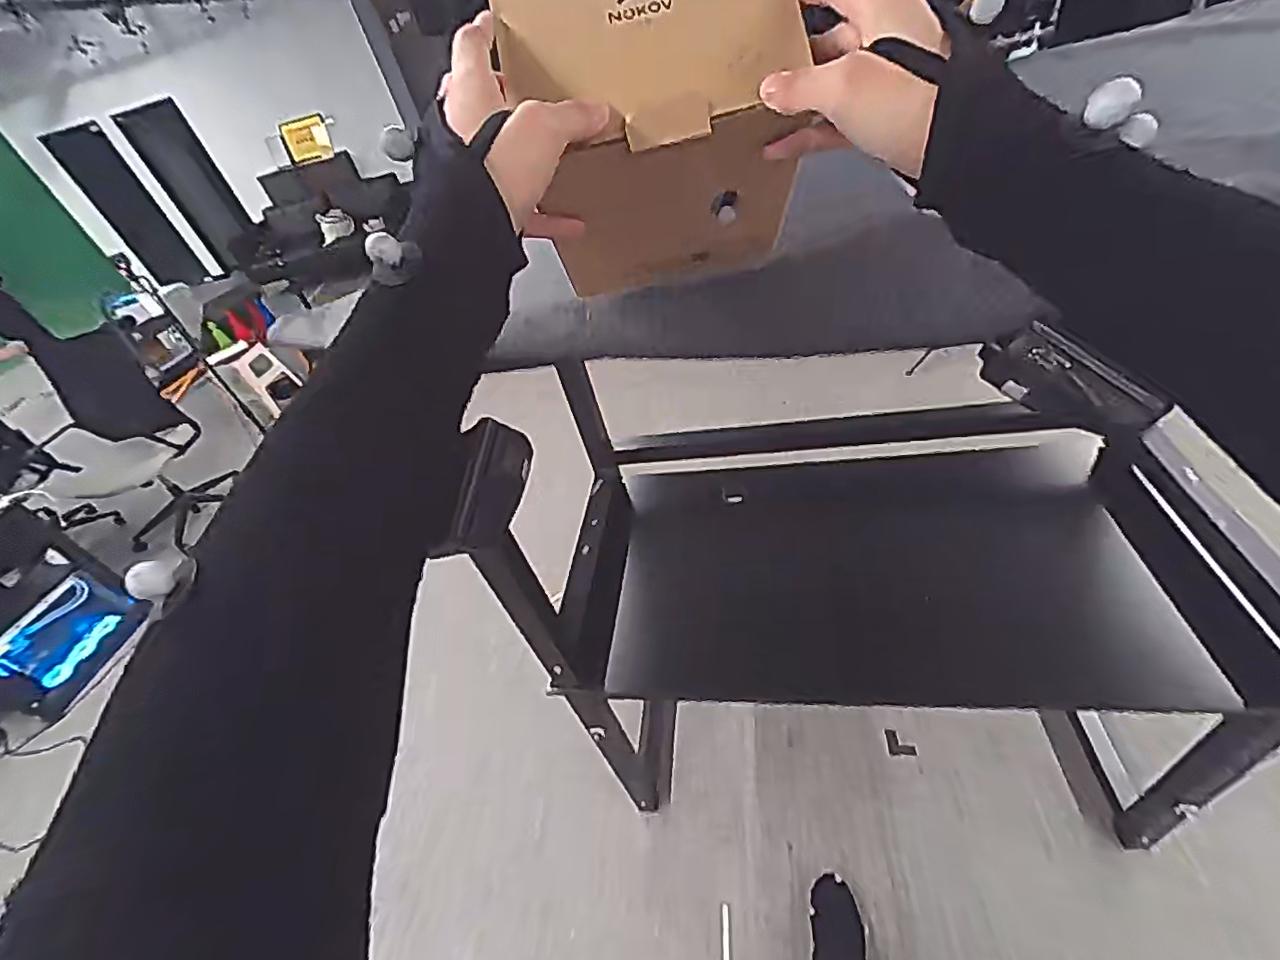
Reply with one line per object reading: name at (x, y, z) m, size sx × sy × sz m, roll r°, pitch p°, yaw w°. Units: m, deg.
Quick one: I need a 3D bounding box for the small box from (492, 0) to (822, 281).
small box at (0.008, -0.257, 0.372) m, size 0.168 × 0.176 × 0.179 m, roll -12°, pitch 84°, yaw 3°
